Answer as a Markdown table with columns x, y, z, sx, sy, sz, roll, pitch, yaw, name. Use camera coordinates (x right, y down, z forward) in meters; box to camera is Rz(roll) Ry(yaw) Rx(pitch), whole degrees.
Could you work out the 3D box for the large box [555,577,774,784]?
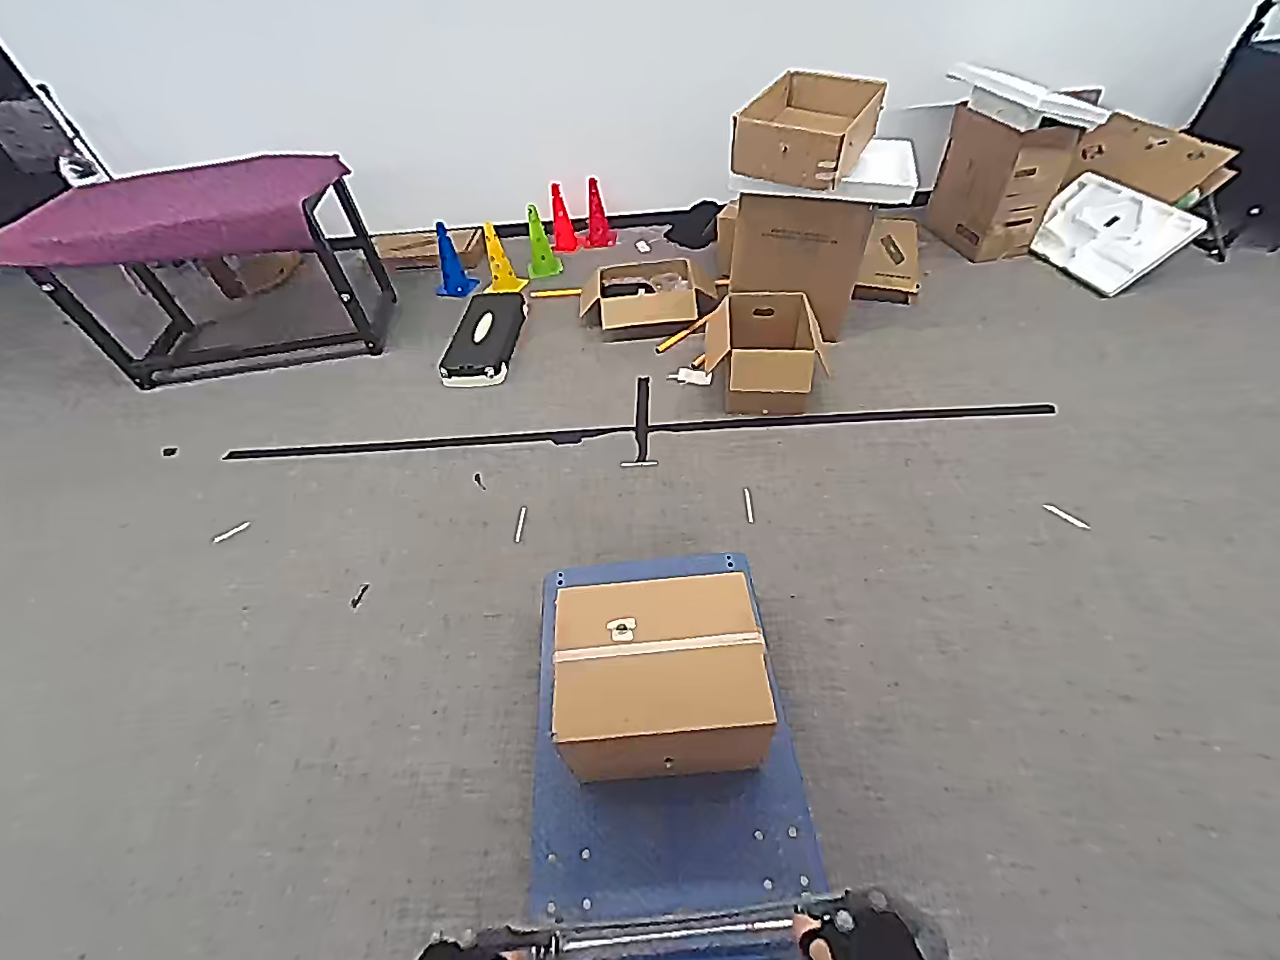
| x | y | z | sx | sy | sz | roll | pitch | yaw | name |
| --- | --- | --- | --- | --- | --- | --- | --- | --- | --- |
| 0.047 | 0.442 | 1.179 | 0.408 | 0.320 | 0.320 | -7 | 48 | 1 | large box |
